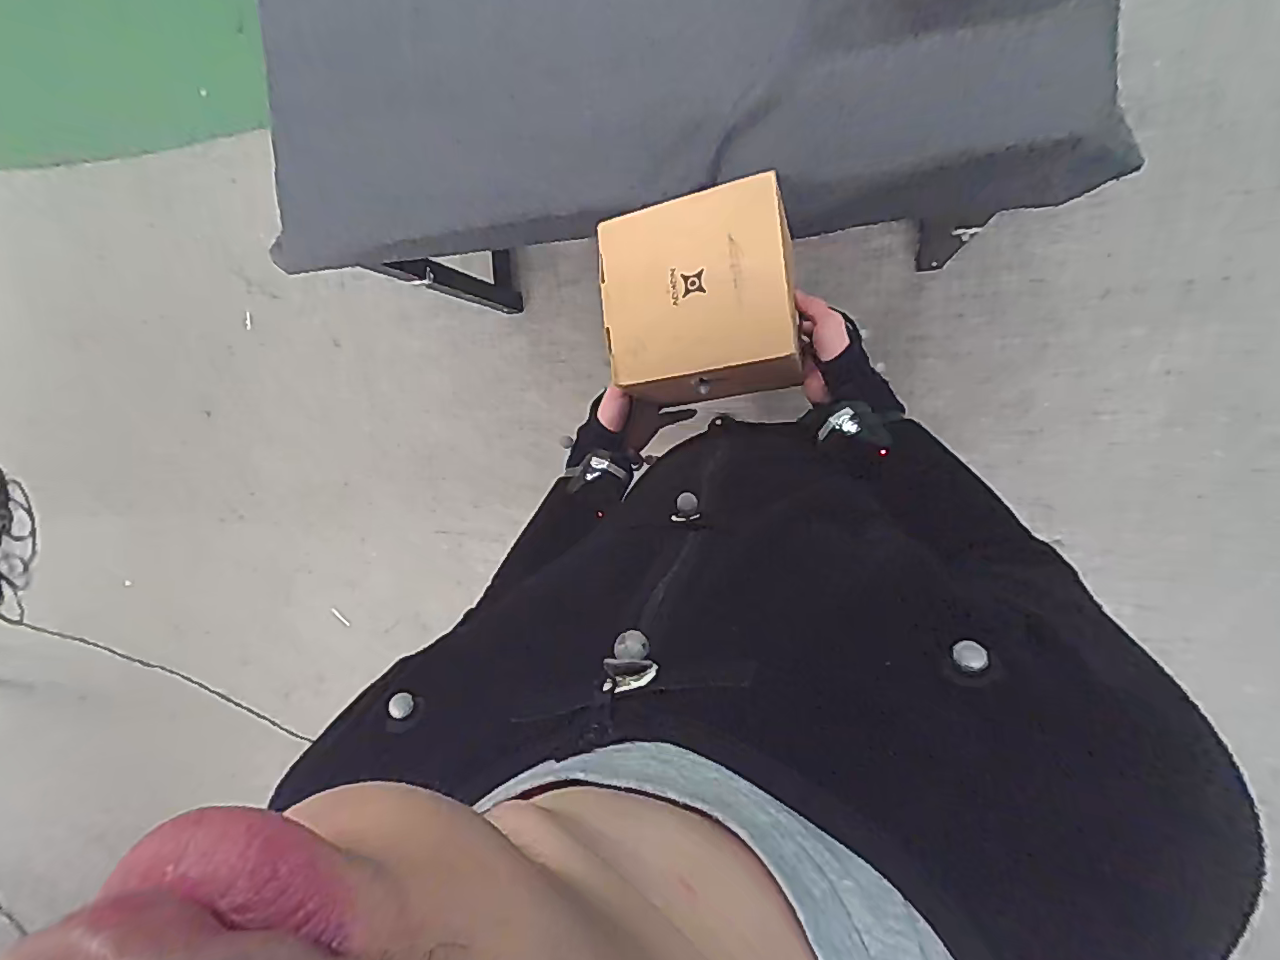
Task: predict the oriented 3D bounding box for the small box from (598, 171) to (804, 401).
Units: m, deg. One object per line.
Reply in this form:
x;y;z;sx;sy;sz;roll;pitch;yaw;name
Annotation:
0.073;-0.185;0.576;0.179;0.176;0.168;-6;89;19;small box
